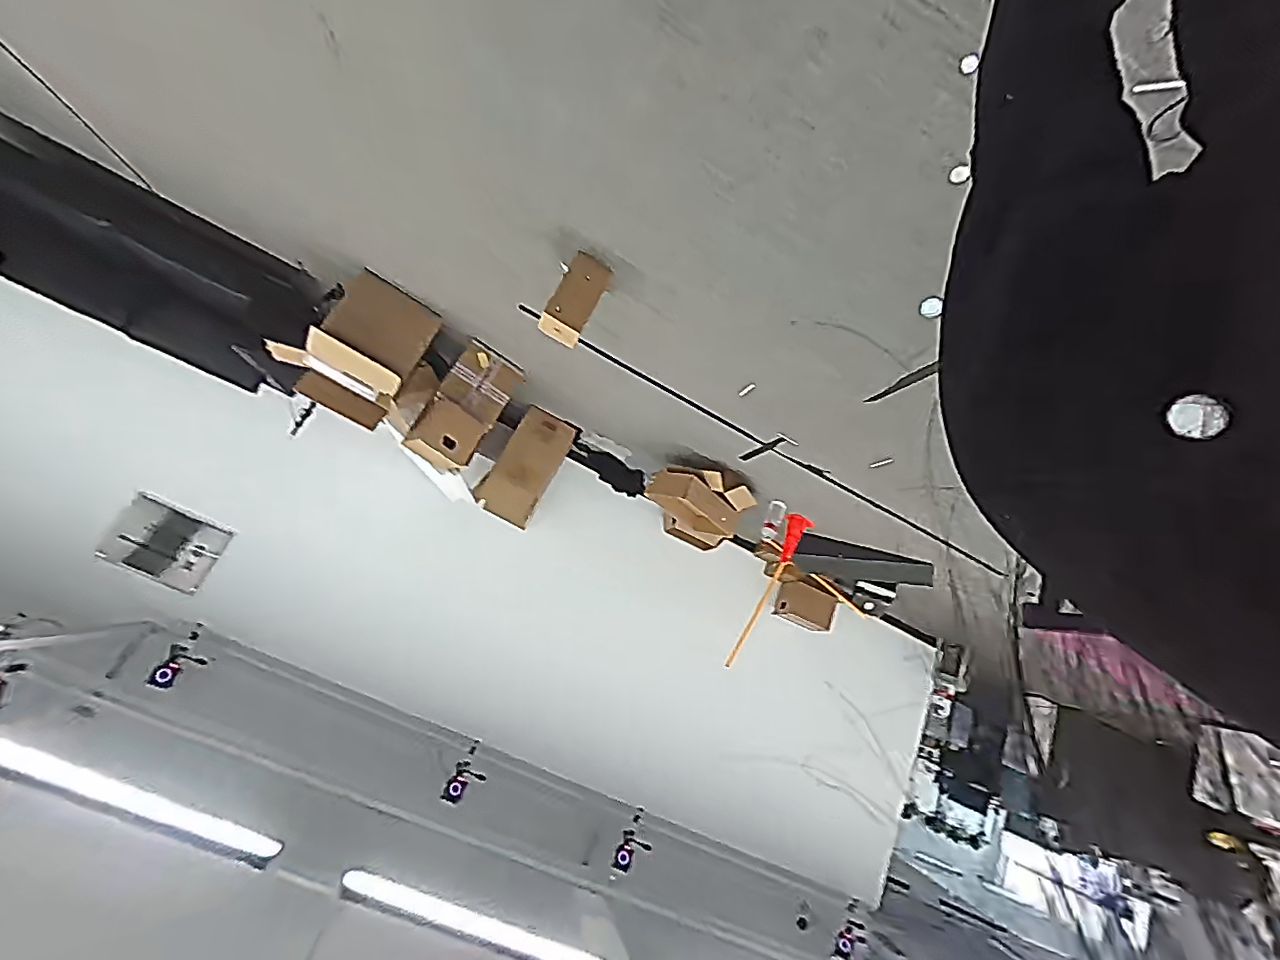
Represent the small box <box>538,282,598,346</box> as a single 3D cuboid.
[{"bbox_3d":[-0.303,-0.704,2.278,0.179,0.176,0.168,28,164,-13],"label":"small box"}]
